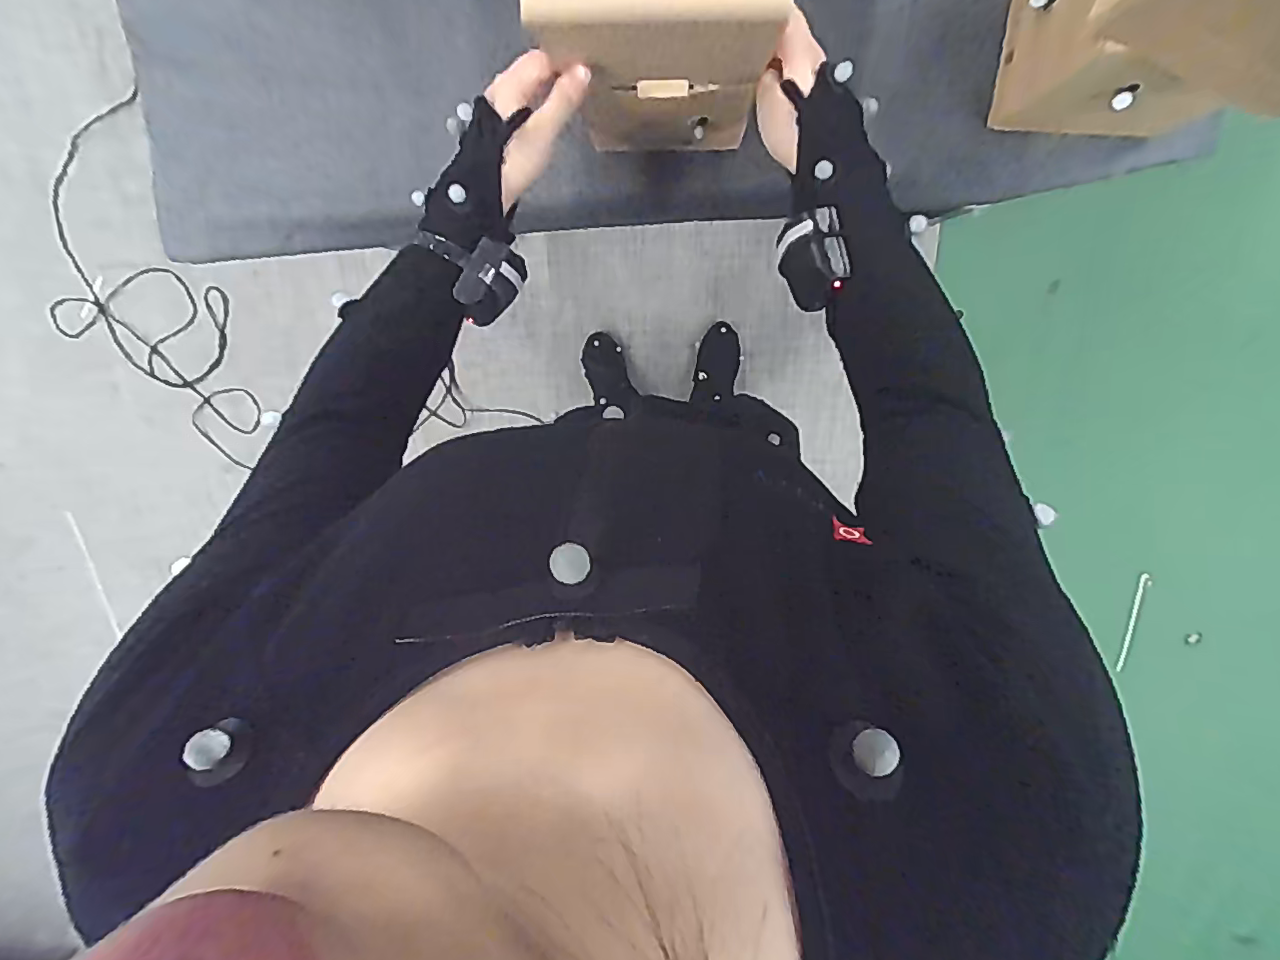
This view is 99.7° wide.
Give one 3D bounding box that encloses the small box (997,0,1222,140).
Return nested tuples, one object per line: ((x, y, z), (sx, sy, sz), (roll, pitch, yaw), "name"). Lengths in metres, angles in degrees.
((0.465, -0.427, 0.486), (0.179, 0.176, 0.168), (5, 105, 4), "small box")

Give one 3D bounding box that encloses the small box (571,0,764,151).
((0.029, -0.437, 0.524), (0.168, 0.176, 0.179), (1, 105, 3), "small box")

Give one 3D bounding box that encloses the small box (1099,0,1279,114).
((0.456, -0.370, 0.333), (0.179, 0.176, 0.168), (25, 105, -3), "small box")
